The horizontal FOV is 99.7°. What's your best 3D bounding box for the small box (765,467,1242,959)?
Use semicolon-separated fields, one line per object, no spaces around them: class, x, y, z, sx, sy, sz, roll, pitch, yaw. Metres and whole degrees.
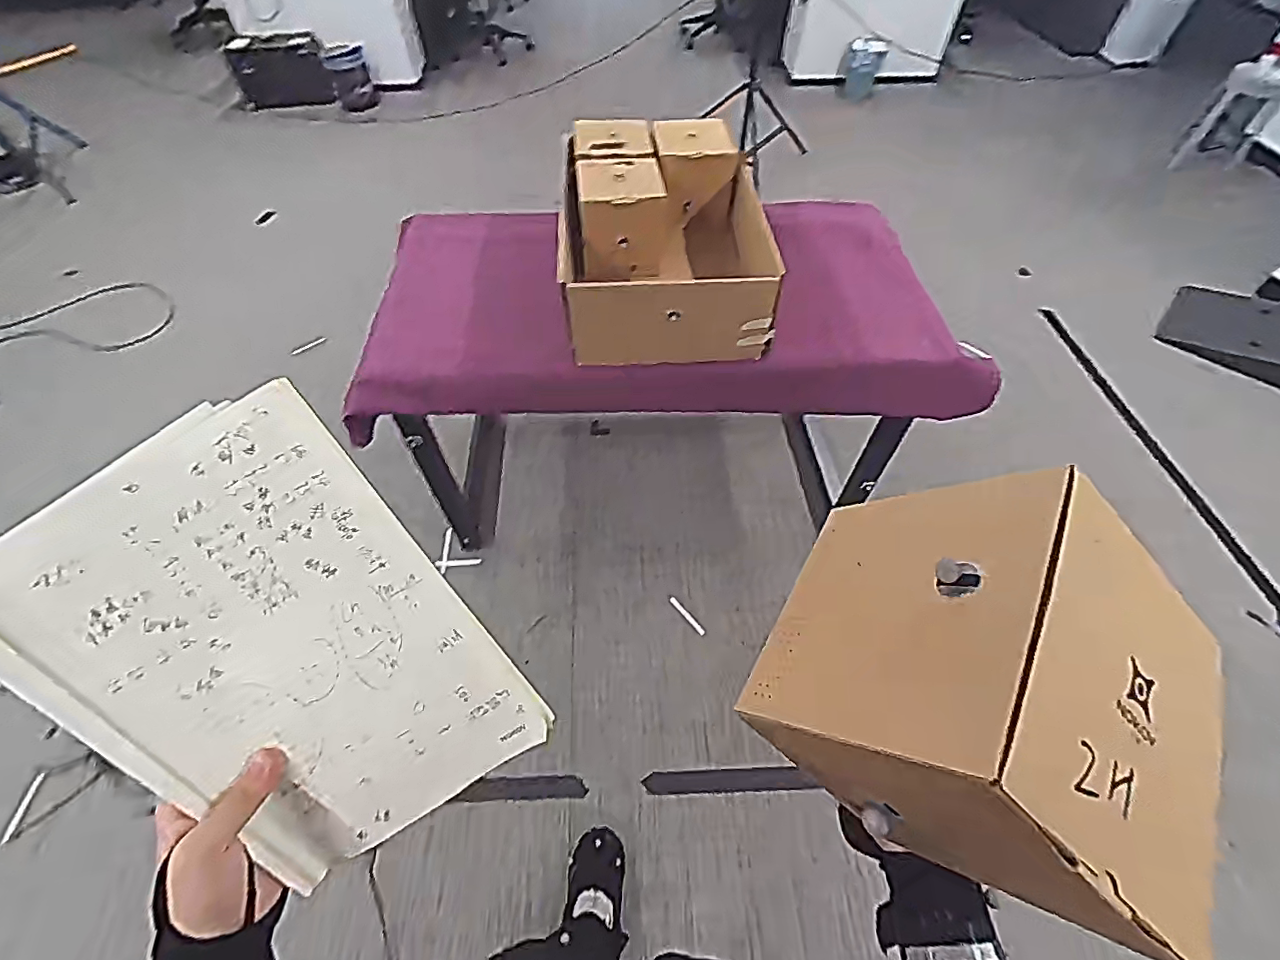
small box;0.207;0.121;0.328;0.168;0.176;0.179;44;63;-13
